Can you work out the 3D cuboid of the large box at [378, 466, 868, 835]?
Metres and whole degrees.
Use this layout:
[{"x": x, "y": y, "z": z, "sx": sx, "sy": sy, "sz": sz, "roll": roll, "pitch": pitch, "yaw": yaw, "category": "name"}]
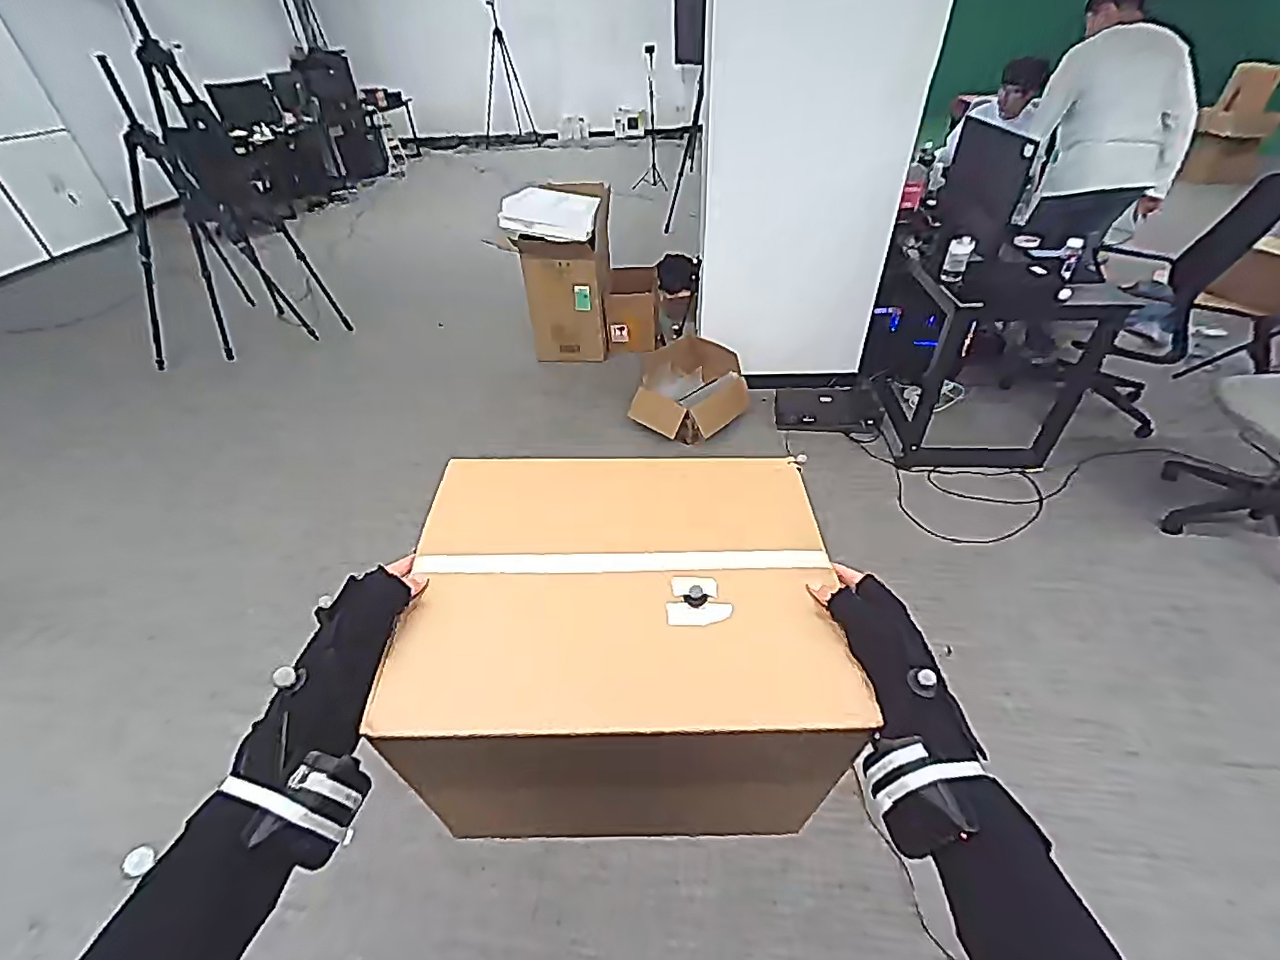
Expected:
[{"x": -0.018, "y": 0.197, "z": 0.640, "sx": 0.408, "sy": 0.320, "sz": 0.320, "roll": 0, "pitch": 44, "yaw": -1, "category": "large box"}]
